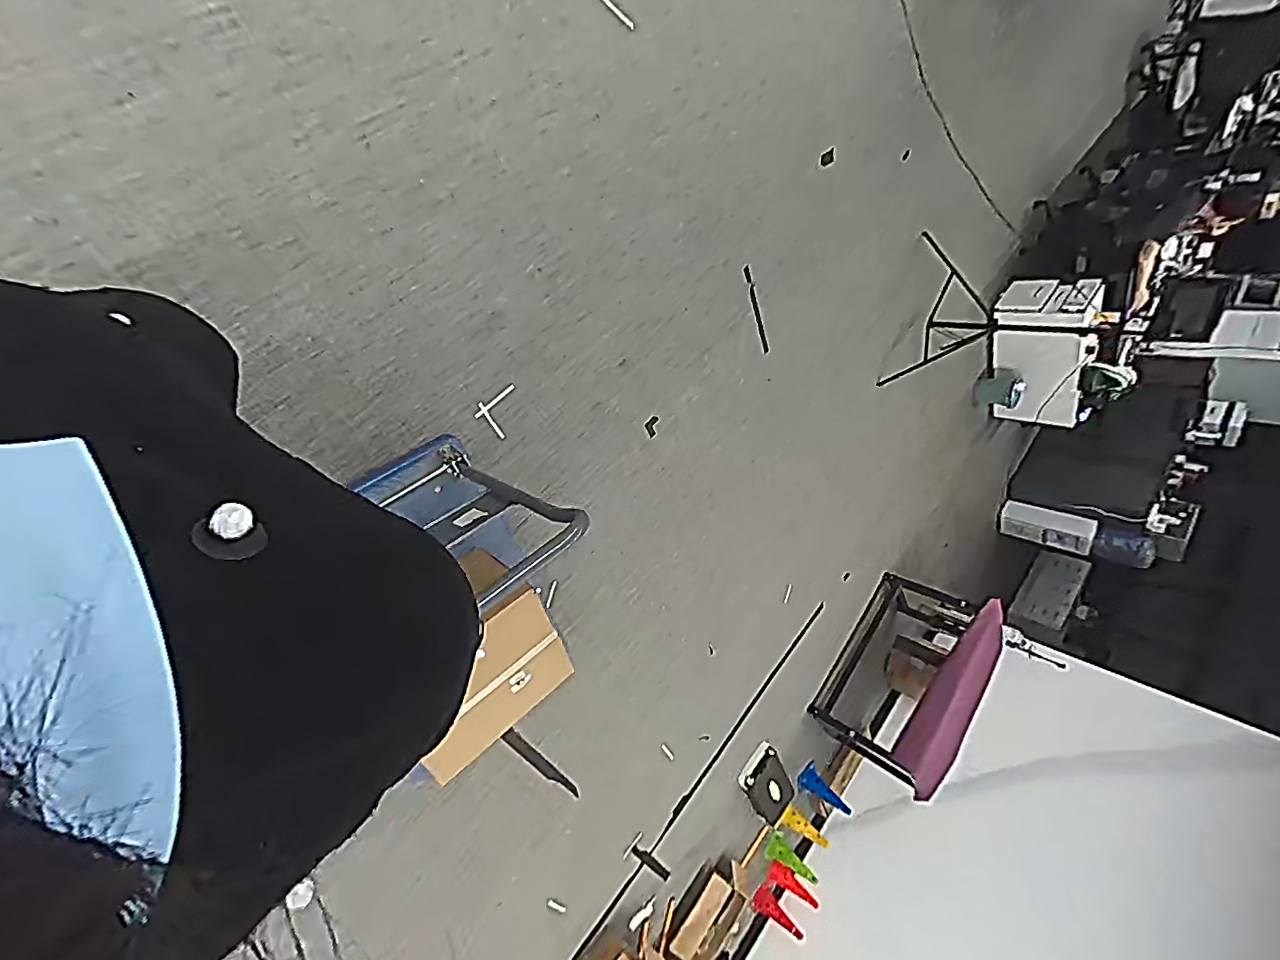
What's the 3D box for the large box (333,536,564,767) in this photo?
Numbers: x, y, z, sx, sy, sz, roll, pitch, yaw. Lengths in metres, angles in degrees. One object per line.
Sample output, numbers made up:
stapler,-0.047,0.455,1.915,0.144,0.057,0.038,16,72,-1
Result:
large box,-0.480,0.412,1.385,0.408,0.320,0.320,-37,127,-29
